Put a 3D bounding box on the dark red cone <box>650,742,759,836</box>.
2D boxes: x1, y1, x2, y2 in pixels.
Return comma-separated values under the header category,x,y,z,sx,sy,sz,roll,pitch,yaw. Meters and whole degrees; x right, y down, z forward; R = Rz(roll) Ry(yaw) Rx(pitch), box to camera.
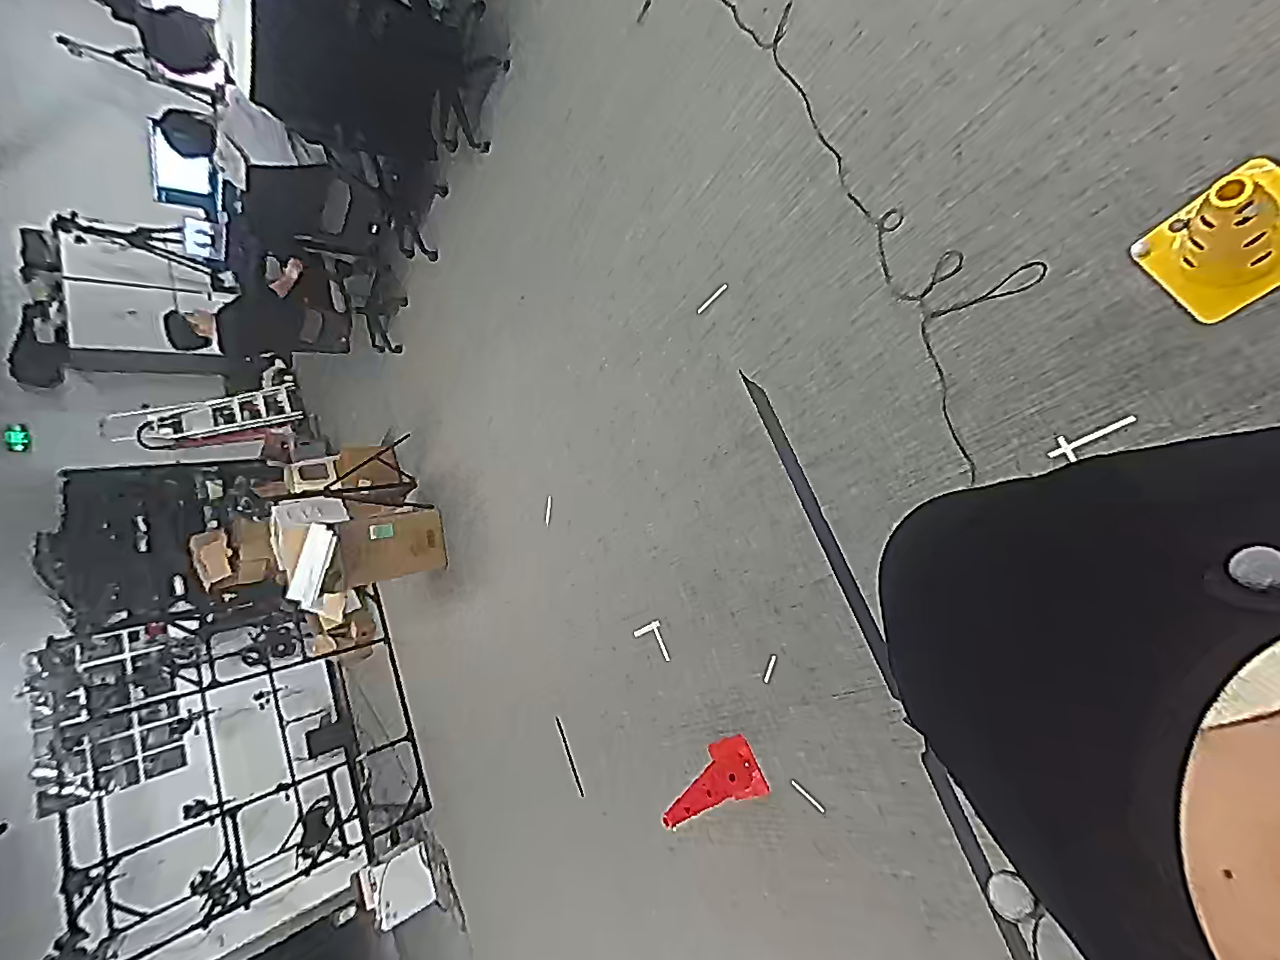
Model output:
category,x,y,z,sx,sy,sz,roll,pitch,yaw
dark red cone,0.186,1.030,1.747,0.201,0.394,0.202,-45,63,40
